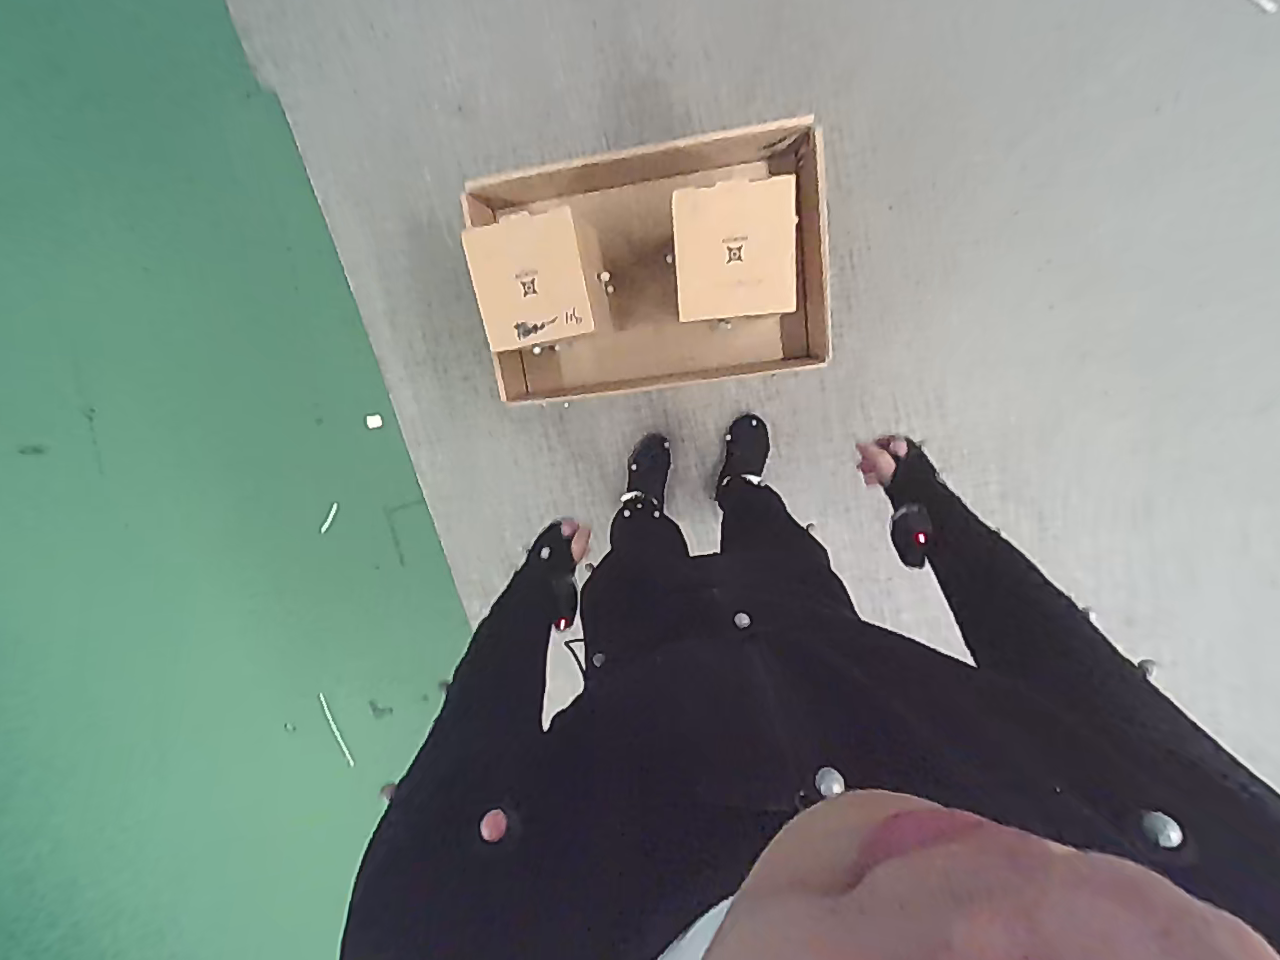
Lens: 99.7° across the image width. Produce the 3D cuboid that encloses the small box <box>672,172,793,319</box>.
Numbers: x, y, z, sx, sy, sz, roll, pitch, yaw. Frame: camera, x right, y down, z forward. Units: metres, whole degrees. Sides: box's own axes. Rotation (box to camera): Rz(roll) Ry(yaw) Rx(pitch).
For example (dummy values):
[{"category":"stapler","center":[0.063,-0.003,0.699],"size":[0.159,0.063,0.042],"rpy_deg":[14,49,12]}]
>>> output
[{"category":"small box","center":[0.138,-0.344,0.826],"size":[0.168,0.176,0.179],"rpy_deg":[-2,105,9]}]

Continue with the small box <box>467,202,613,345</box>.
[{"category":"small box","center":[-0.149,-0.319,0.870],"size":[0.168,0.176,0.179],"rpy_deg":[-8,104,11]}]
